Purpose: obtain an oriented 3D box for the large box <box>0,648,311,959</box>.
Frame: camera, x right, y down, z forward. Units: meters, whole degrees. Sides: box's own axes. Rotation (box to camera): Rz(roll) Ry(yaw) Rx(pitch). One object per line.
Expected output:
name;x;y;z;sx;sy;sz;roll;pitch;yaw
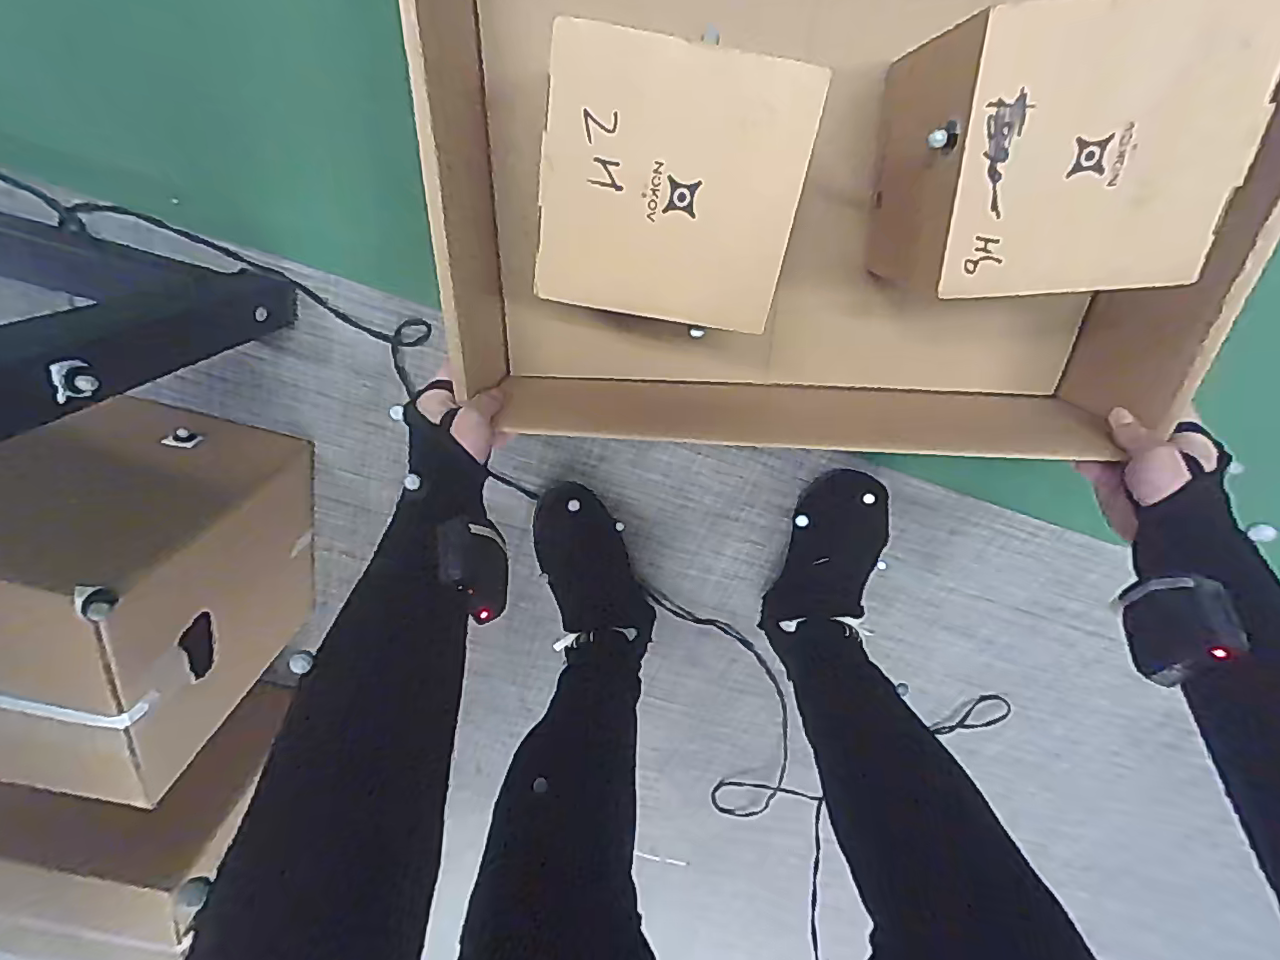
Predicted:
large box;-0.806;0.523;0.853;0.408;0.320;0.320;17;117;-5
